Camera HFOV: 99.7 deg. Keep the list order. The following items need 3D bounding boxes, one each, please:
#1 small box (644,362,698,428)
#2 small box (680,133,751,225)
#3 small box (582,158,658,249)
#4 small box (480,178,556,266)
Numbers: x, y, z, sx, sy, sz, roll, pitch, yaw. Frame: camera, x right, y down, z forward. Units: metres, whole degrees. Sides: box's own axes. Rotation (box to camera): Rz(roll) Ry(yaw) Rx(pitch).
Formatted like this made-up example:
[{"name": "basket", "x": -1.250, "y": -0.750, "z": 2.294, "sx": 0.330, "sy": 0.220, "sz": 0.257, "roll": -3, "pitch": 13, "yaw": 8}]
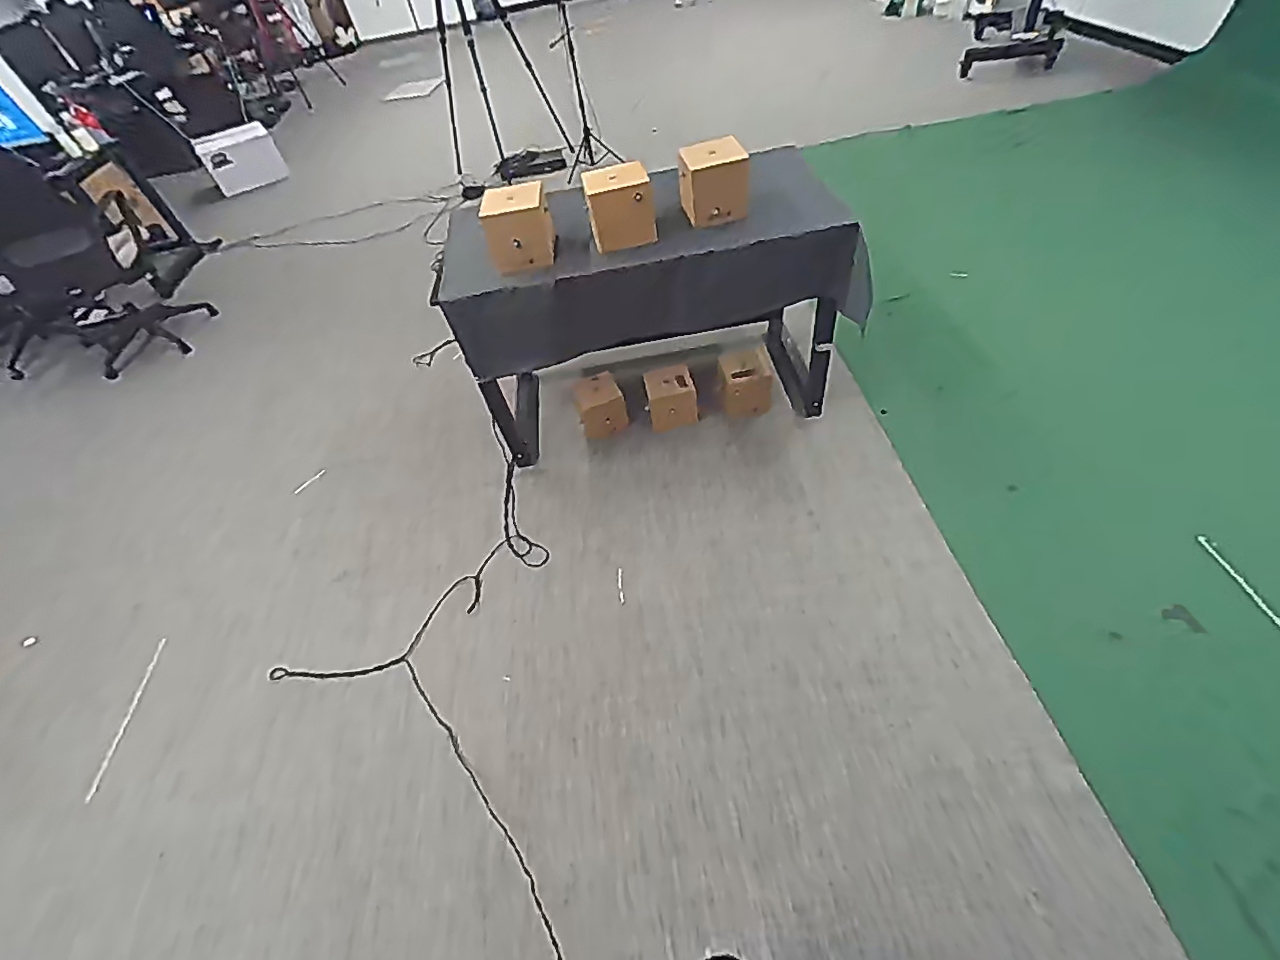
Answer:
[{"name": "small box", "x": 0.122, "y": -0.323, "z": 2.075, "sx": 0.179, "sy": 0.176, "sz": 0.168, "roll": -12, "pitch": 49, "yaw": 1}, {"name": "small box", "x": 0.215, "y": -0.861, "z": 1.552, "sx": 0.168, "sy": 0.176, "sz": 0.179, "roll": -12, "pitch": 50, "yaw": 1}, {"name": "small box", "x": -0.056, "y": -0.782, "z": 1.537, "sx": 0.179, "sy": 0.176, "sz": 0.168, "roll": -13, "pitch": 49, "yaw": -1}, {"name": "small box", "x": -0.340, "y": -0.726, "z": 1.537, "sx": 0.168, "sy": 0.176, "sz": 0.179, "roll": -8, "pitch": 50, "yaw": 3}]
